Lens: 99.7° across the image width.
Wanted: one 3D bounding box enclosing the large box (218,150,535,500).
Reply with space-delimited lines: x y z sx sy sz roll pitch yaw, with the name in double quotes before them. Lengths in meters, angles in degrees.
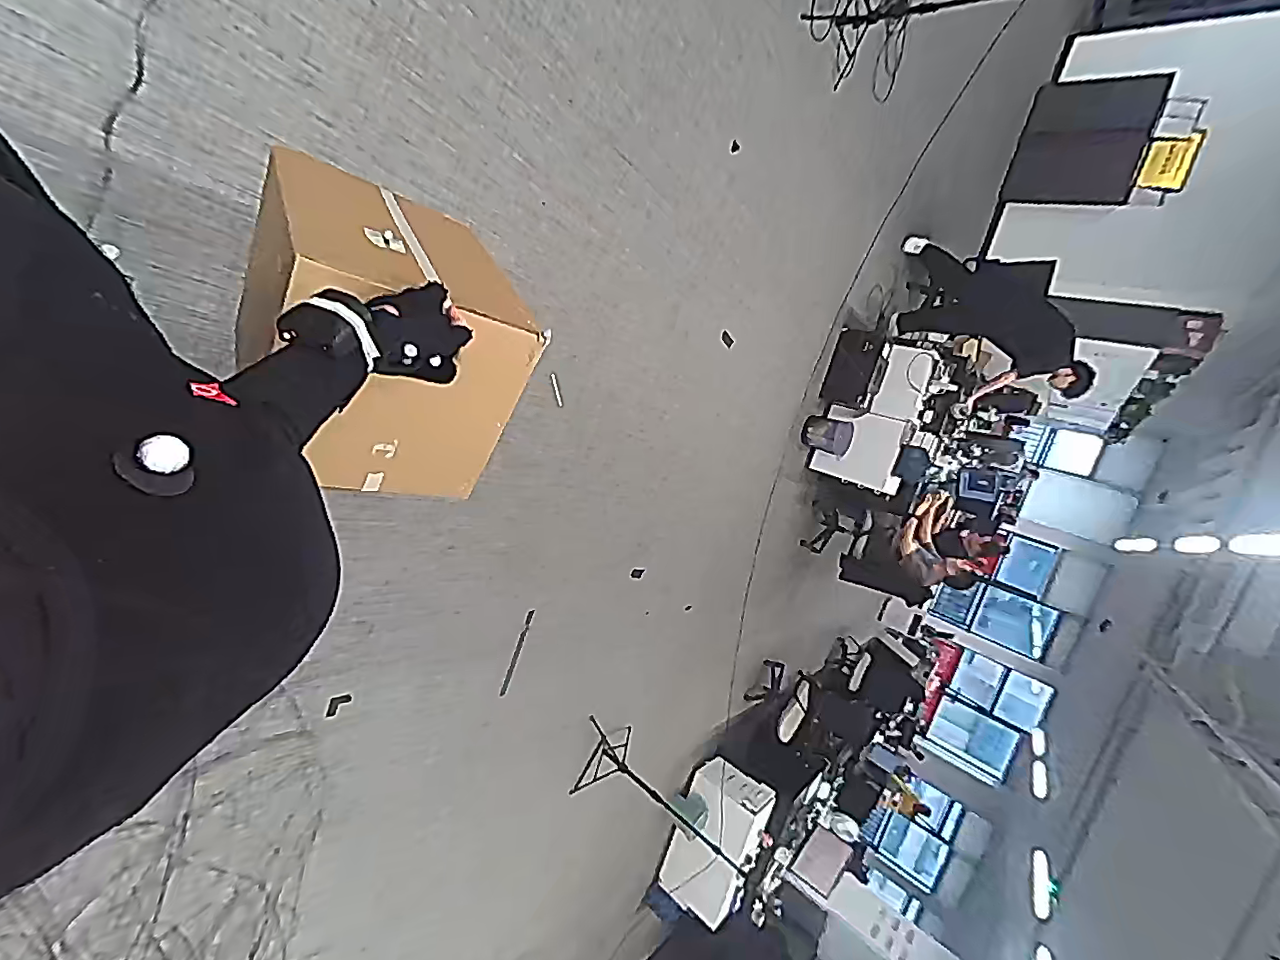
"large box" -0.430 -0.223 0.841 0.320 0.408 0.320 7 127 -44
